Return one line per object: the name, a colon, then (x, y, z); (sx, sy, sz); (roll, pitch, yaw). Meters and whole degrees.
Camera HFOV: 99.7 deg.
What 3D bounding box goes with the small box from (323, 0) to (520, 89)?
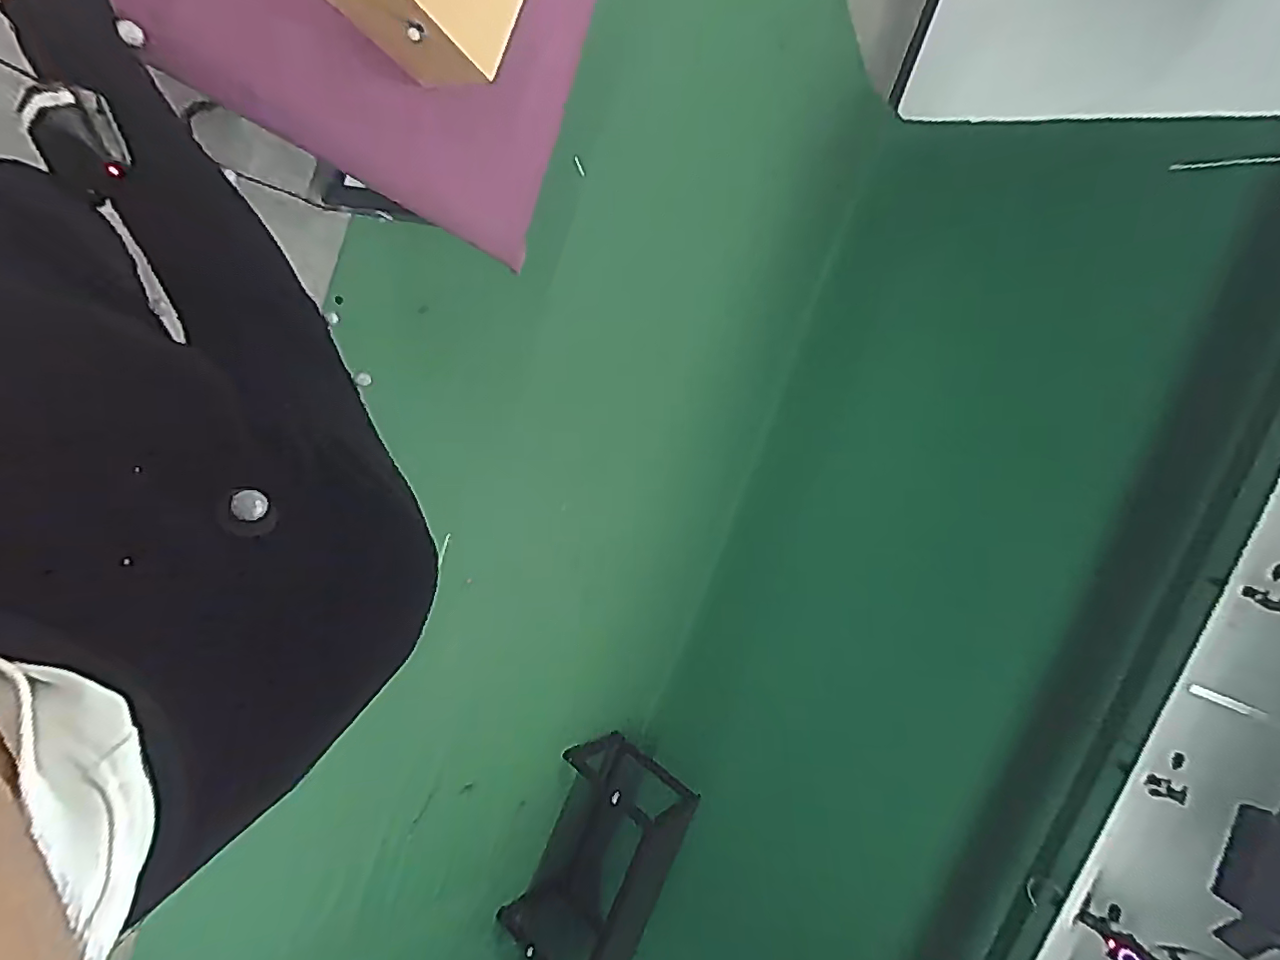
small box: (-0.291, -0.666, 0.723); (0.179, 0.176, 0.168); (18, 95, -57)
